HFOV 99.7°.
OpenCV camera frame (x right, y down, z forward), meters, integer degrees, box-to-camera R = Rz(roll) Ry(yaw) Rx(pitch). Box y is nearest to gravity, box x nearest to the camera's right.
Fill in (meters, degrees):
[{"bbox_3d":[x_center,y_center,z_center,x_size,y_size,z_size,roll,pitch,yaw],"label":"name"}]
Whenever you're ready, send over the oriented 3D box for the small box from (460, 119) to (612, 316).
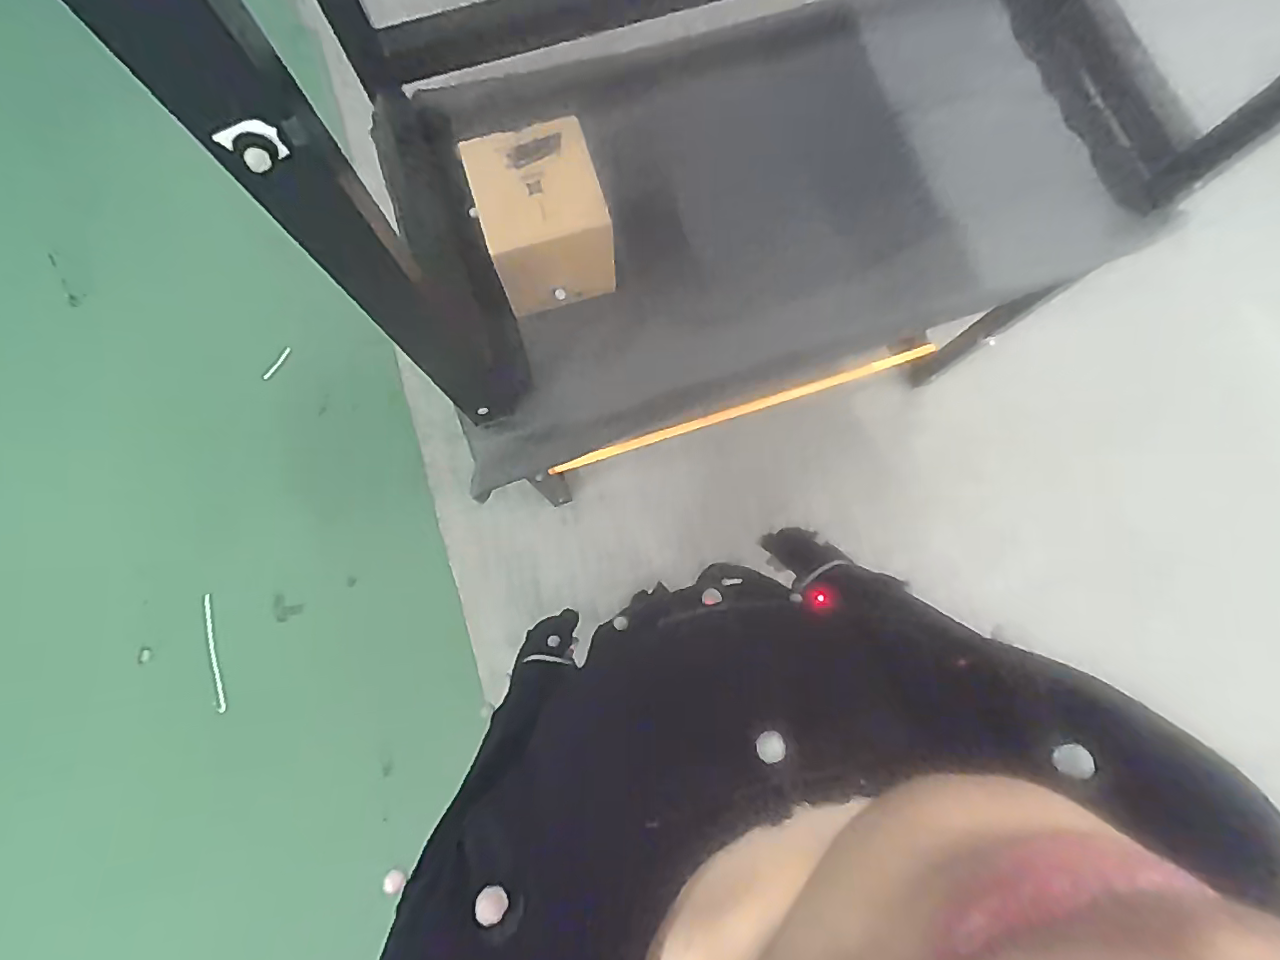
[{"bbox_3d":[-0.142,-0.373,0.790,0.168,0.176,0.179,-17,80,-4],"label":"small box"}]
